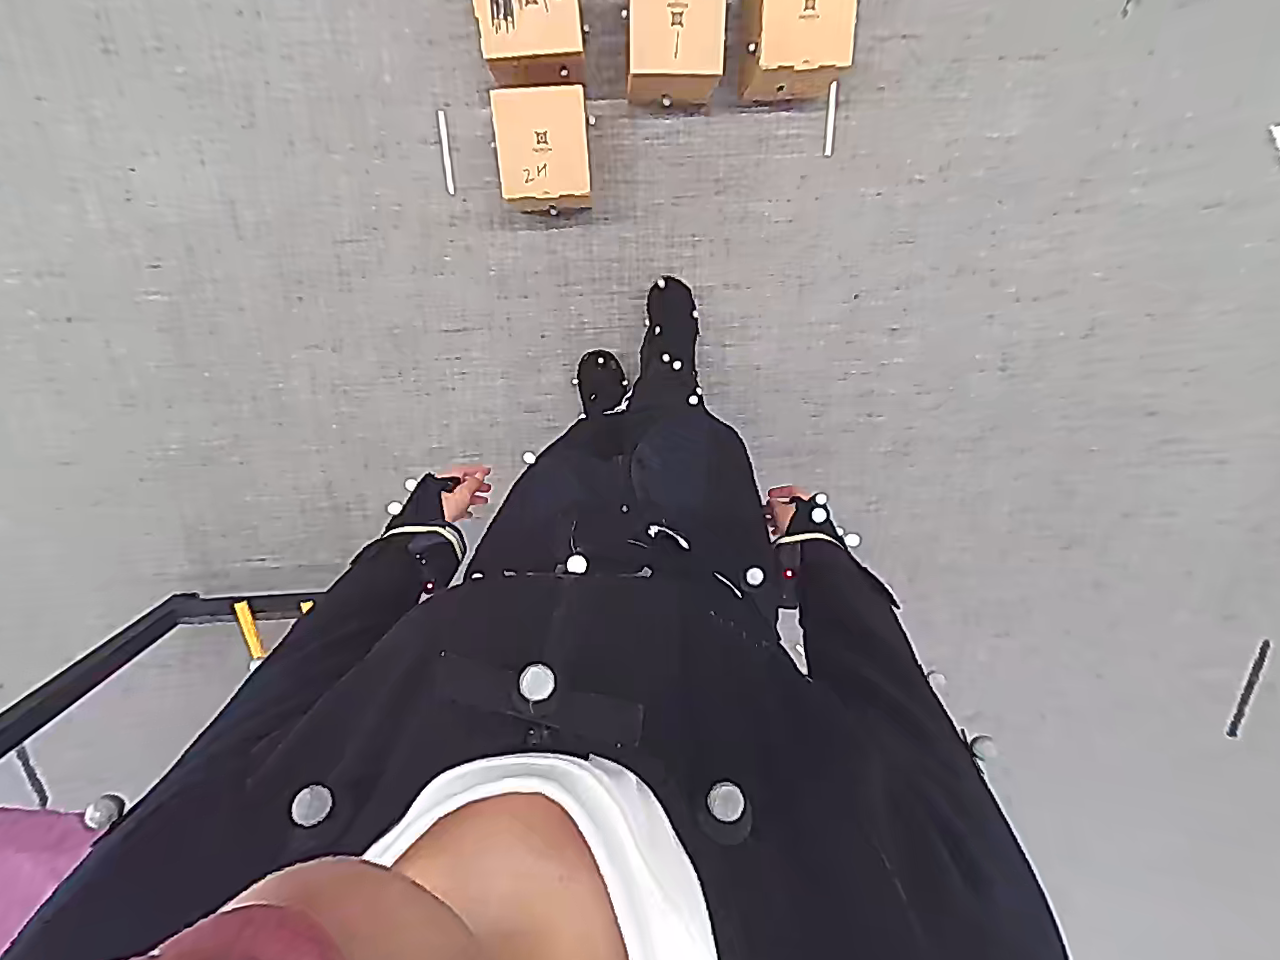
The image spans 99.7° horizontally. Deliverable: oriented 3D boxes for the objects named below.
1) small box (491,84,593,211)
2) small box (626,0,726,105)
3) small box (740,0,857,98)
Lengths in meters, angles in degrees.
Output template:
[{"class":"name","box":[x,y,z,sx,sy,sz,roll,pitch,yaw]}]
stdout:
[{"class":"small box","box":[-0.180,-0.631,1.043,0.168,0.176,0.179,-4,110,-1]},{"class":"small box","box":[0.060,-0.819,0.991,0.168,0.176,0.179,-1,110,-3]},{"class":"small box","box":[0.286,-0.837,0.999,0.168,0.176,0.179,-3,110,-2]}]
